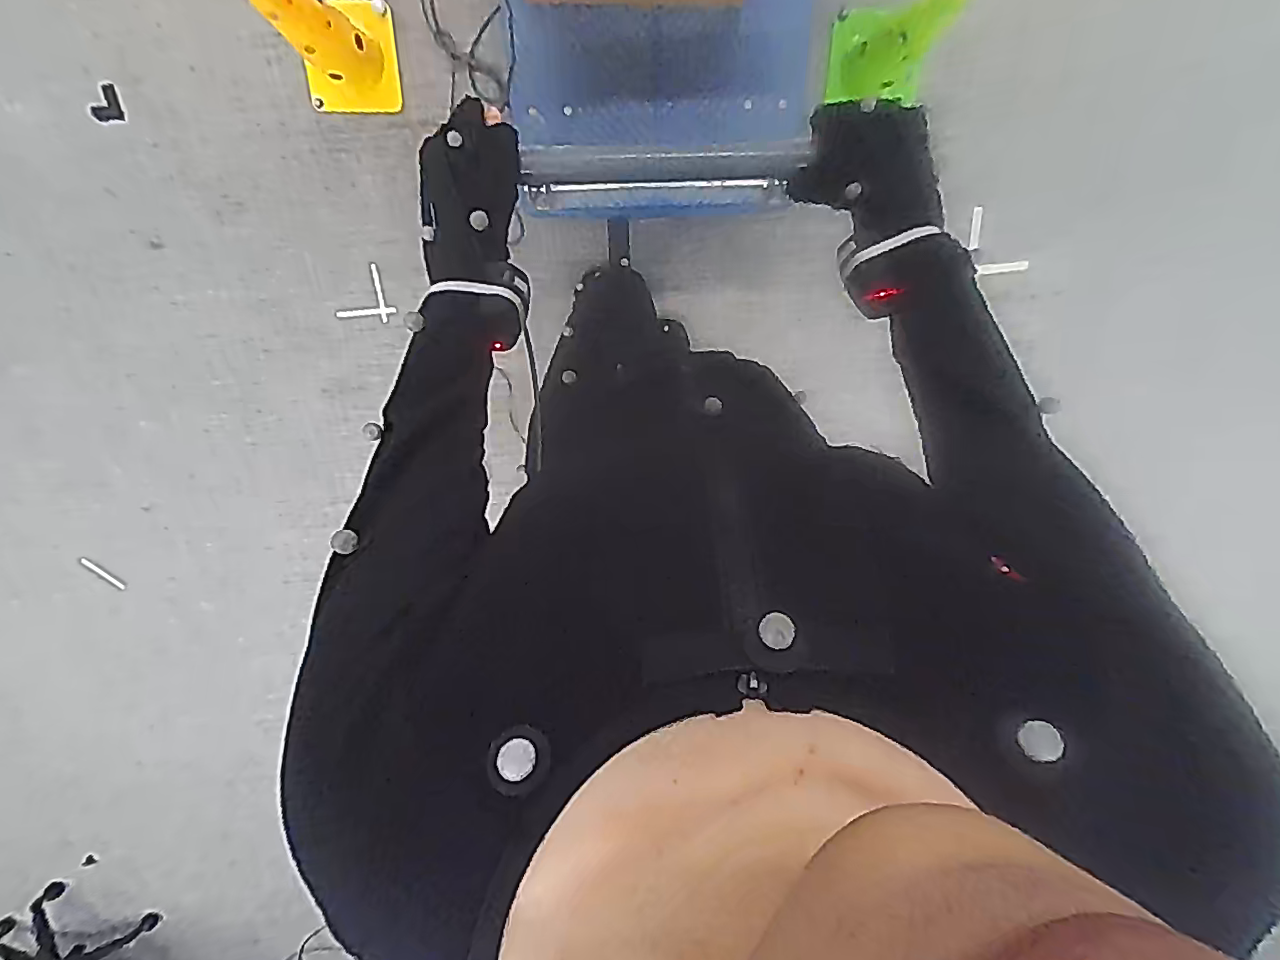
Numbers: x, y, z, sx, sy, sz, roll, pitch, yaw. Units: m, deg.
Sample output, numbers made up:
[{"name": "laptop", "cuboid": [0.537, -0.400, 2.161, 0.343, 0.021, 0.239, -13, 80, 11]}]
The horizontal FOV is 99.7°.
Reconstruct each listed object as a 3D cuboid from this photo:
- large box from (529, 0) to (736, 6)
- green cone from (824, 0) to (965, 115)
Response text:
[{"name": "large box", "cuboid": [-0.011, -0.966, 0.813, 0.408, 0.320, 0.320, 0, 112, 1]}, {"name": "green cone", "cuboid": [0.509, -0.848, 1.011, 0.202, 0.368, 0.200, 0, 111, -1]}]
